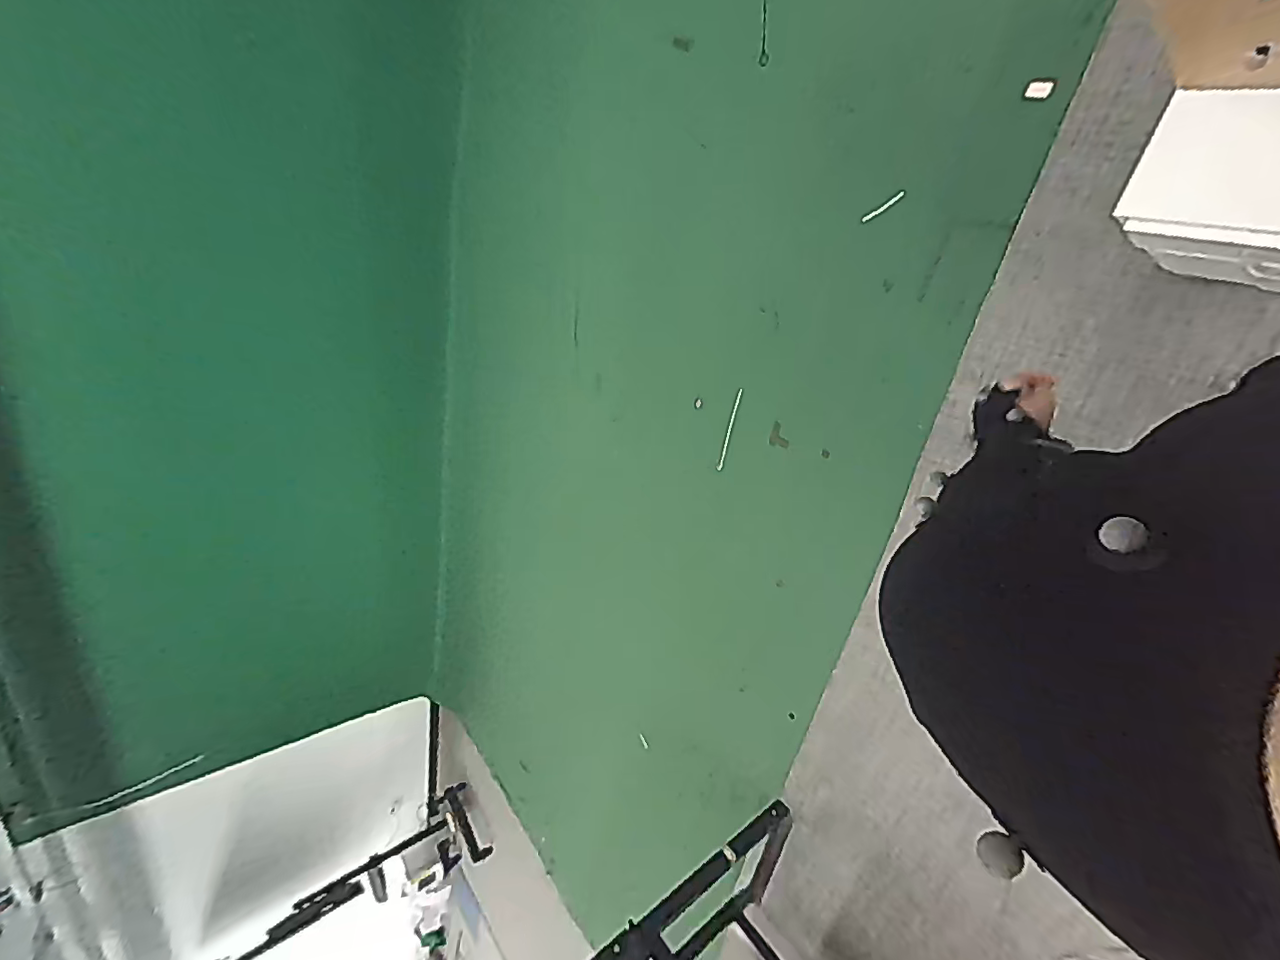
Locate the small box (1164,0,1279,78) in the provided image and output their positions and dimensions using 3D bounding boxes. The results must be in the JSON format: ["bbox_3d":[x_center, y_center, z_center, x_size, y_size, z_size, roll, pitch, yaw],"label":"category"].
[{"bbox_3d":[0.642,-0.493,0.496,0.179,0.176,0.168,33,122,39],"label":"small box"}]
